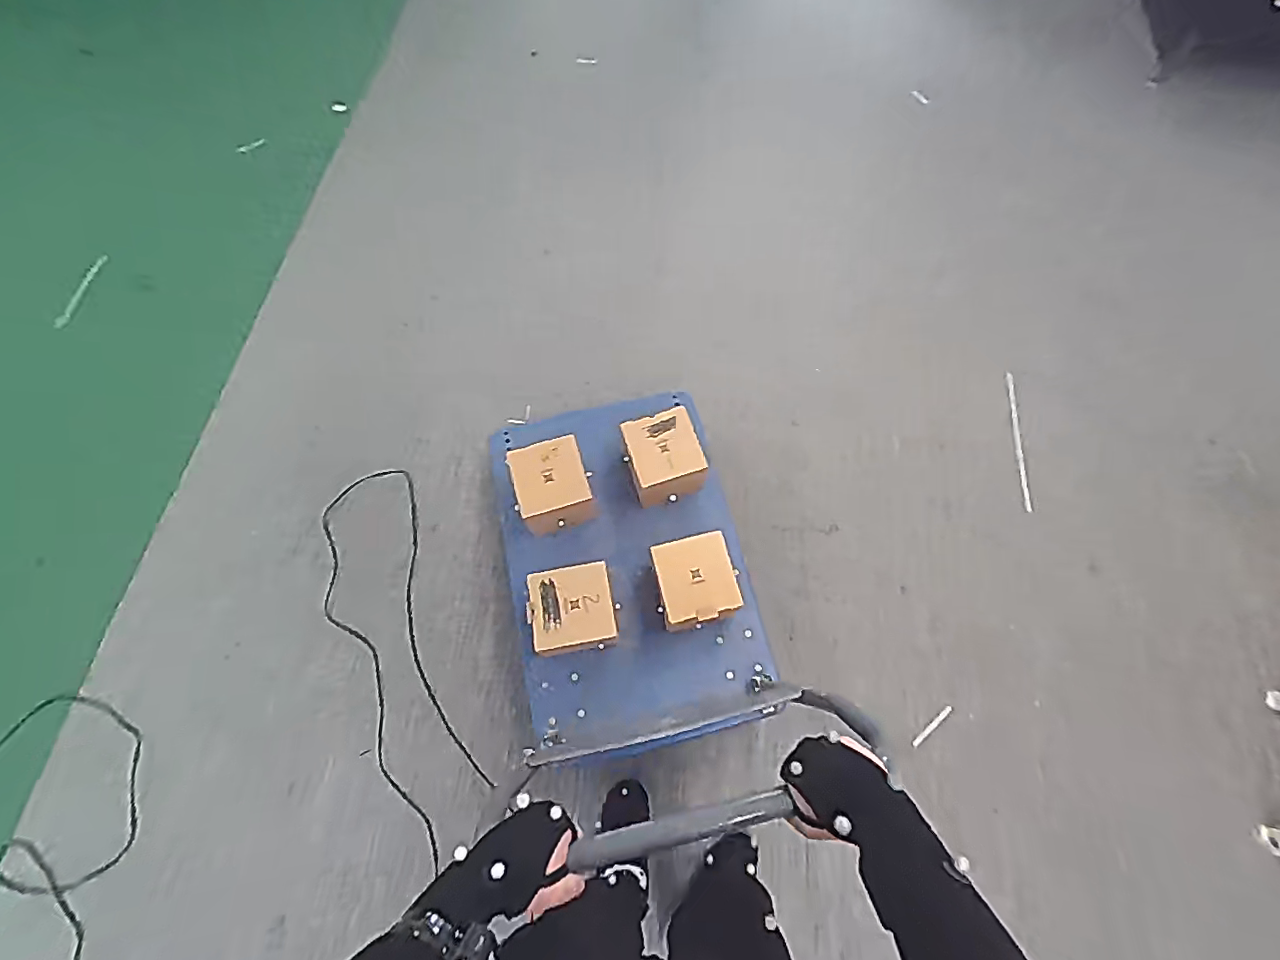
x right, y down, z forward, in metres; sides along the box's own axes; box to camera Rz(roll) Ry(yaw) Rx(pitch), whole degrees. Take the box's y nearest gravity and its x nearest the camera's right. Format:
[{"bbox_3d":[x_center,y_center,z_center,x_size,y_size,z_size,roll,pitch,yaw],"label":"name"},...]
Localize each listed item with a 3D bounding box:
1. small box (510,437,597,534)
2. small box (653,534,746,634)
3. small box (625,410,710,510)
[{"bbox_3d":[-0.207,0.022,1.330,0.168,0.176,0.179,-15,70,-6],"label":"small box"},{"bbox_3d":[0.127,0.244,1.244,0.168,0.176,0.179,-13,70,-4],"label":"small box"},{"bbox_3d":[0.062,-0.046,1.353,0.168,0.176,0.179,-16,69,-6],"label":"small box"}]
